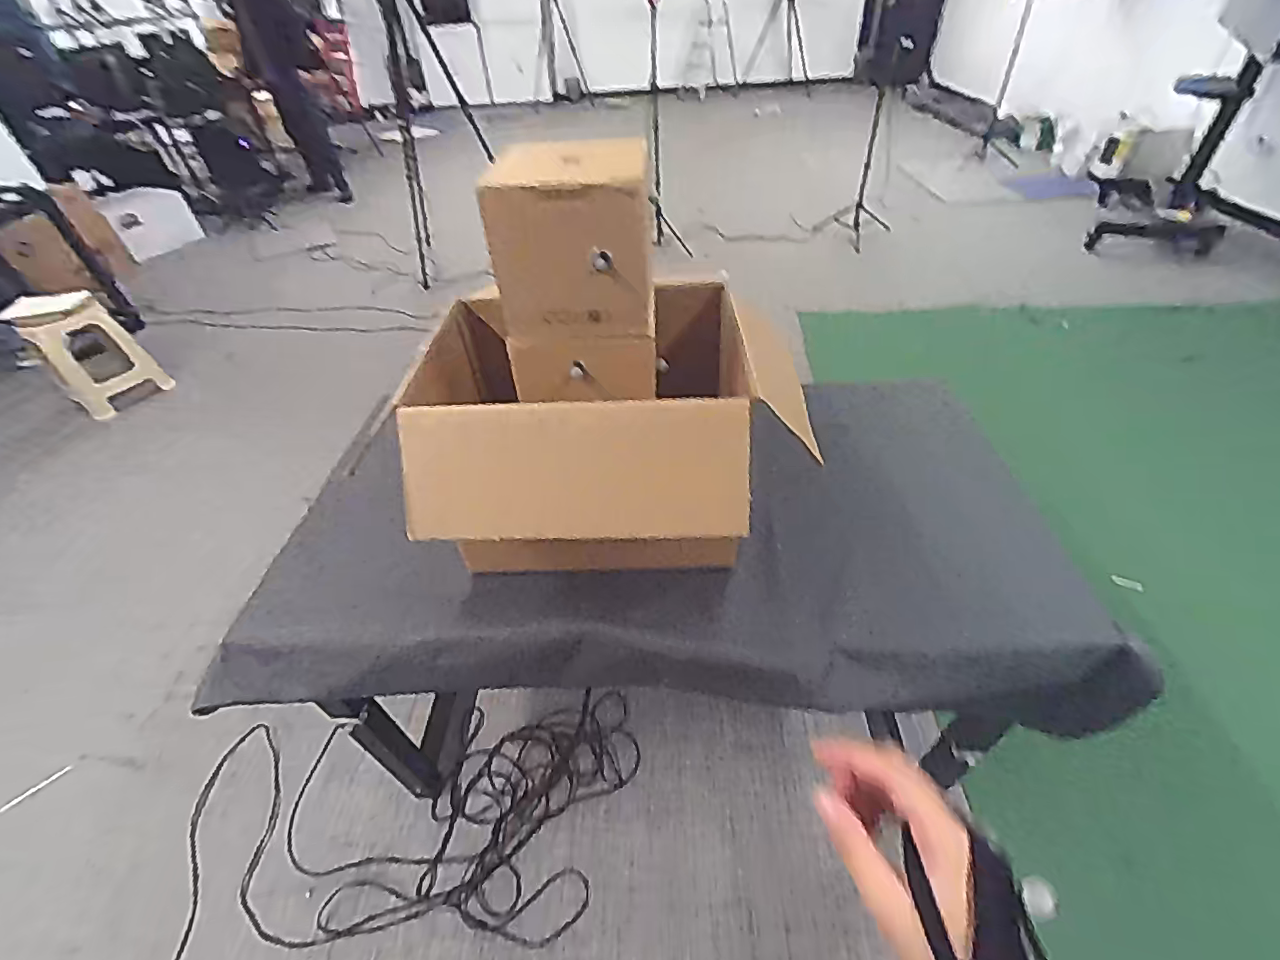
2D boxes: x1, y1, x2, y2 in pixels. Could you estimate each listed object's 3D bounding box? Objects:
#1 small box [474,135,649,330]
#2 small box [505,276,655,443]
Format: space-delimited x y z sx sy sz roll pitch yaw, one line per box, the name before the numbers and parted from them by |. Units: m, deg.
small box | -0.075 -0.287 0.635 0.168 0.176 0.179 0 42 2
small box | -0.068 -0.163 0.739 0.179 0.176 0.168 -2 43 2
